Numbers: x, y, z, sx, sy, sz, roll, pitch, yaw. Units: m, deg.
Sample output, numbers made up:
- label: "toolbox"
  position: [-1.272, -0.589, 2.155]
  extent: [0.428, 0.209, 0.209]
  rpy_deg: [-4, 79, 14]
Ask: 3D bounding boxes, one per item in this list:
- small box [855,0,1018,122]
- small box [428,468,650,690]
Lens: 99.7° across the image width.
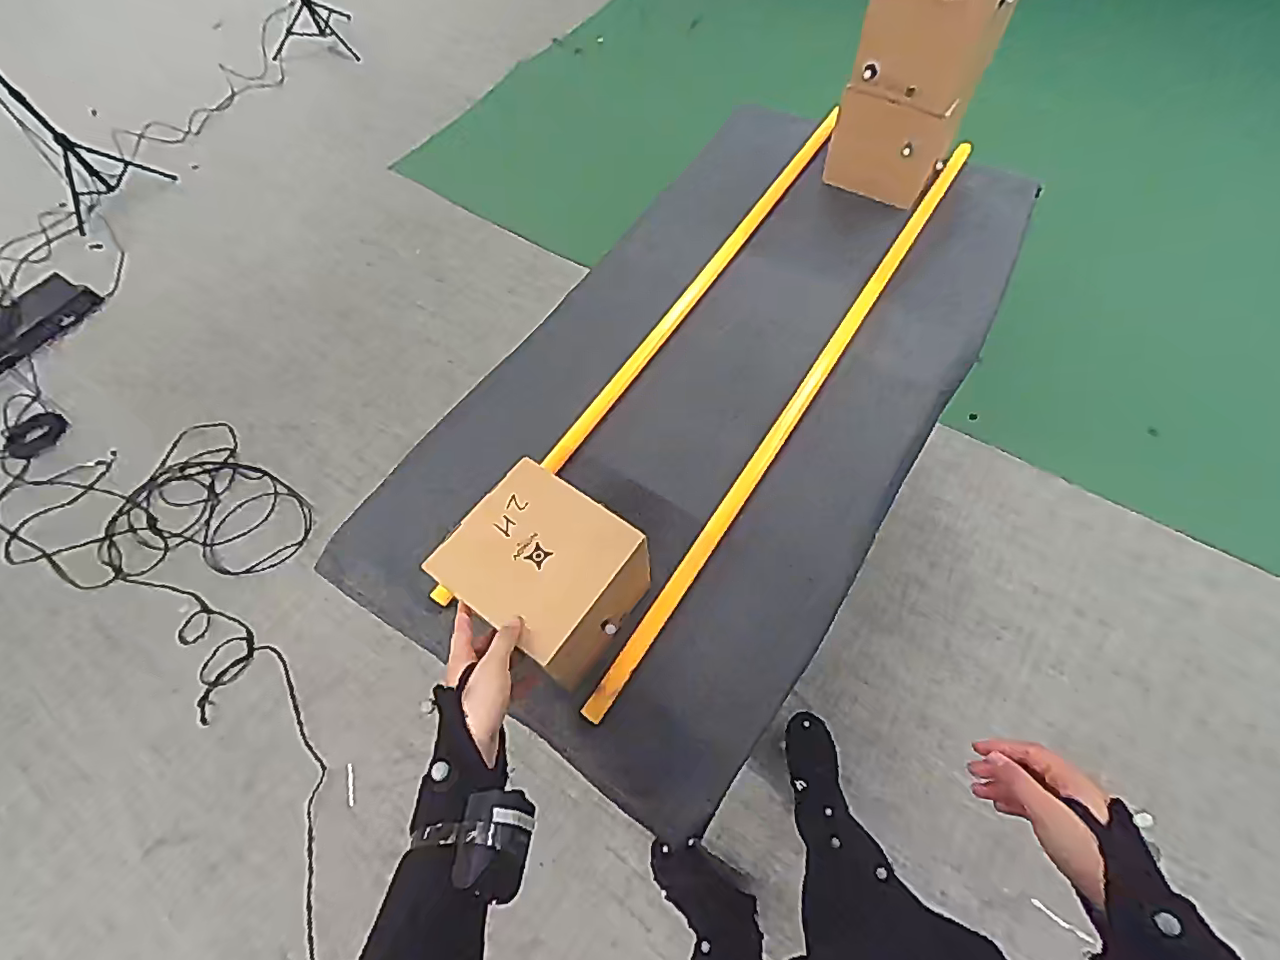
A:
- label: "small box"
  position: [0.452, -0.687, 0.822]
  extent: [0.168, 0.176, 0.179]
  rpy_deg: [35, 70, 19]
- label: "small box"
  position: [-0.101, 0.123, 0.630]
  extent: [0.179, 0.176, 0.168]
  rpy_deg: [32, 67, 19]
